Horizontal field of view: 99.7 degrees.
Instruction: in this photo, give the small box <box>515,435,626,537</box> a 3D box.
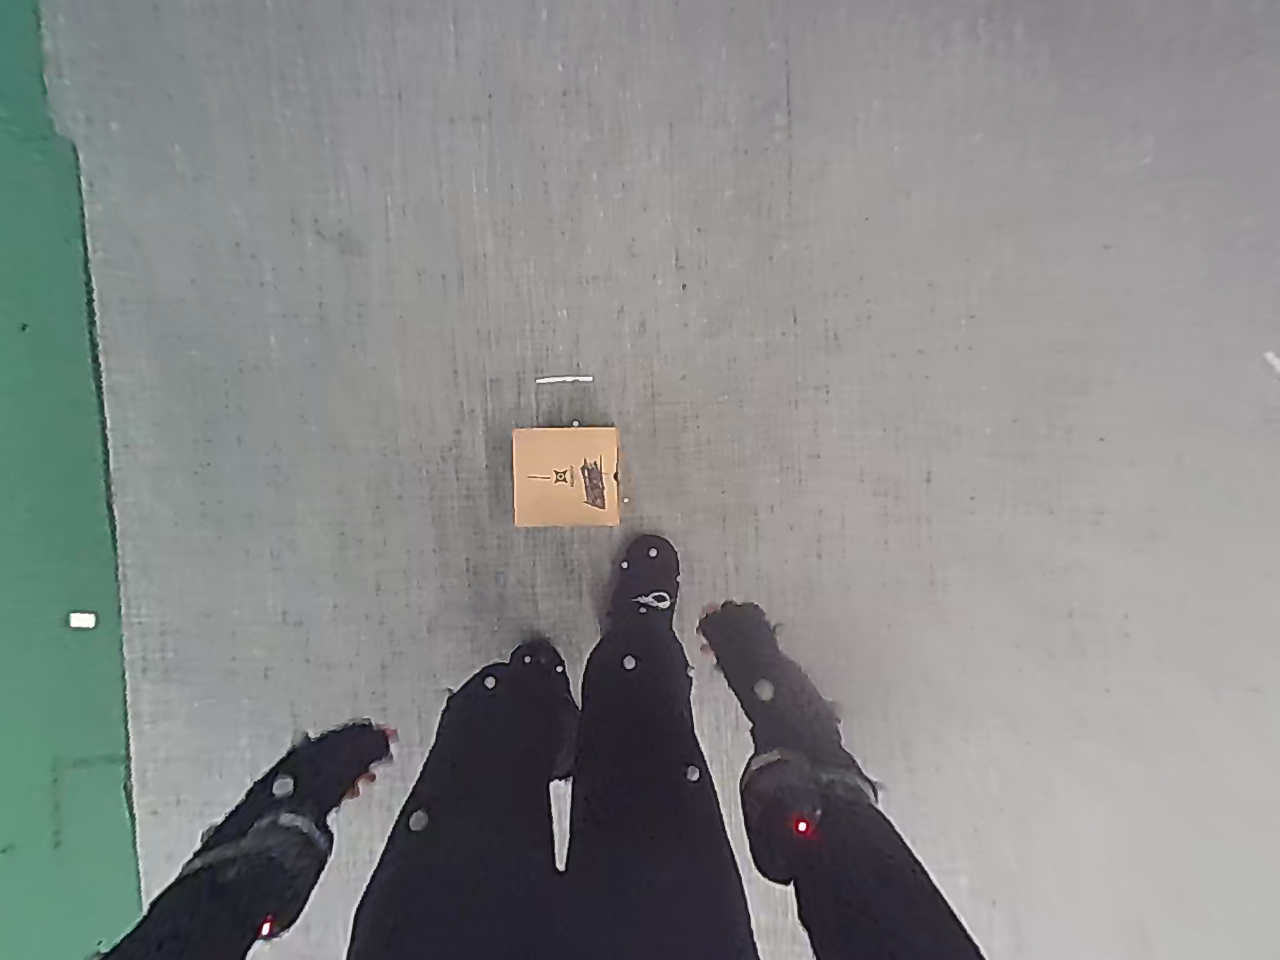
[{"bbox_3d":[-0.119,0.005,0.978,0.179,0.176,0.168,-4,93,-1],"label":"small box"}]
